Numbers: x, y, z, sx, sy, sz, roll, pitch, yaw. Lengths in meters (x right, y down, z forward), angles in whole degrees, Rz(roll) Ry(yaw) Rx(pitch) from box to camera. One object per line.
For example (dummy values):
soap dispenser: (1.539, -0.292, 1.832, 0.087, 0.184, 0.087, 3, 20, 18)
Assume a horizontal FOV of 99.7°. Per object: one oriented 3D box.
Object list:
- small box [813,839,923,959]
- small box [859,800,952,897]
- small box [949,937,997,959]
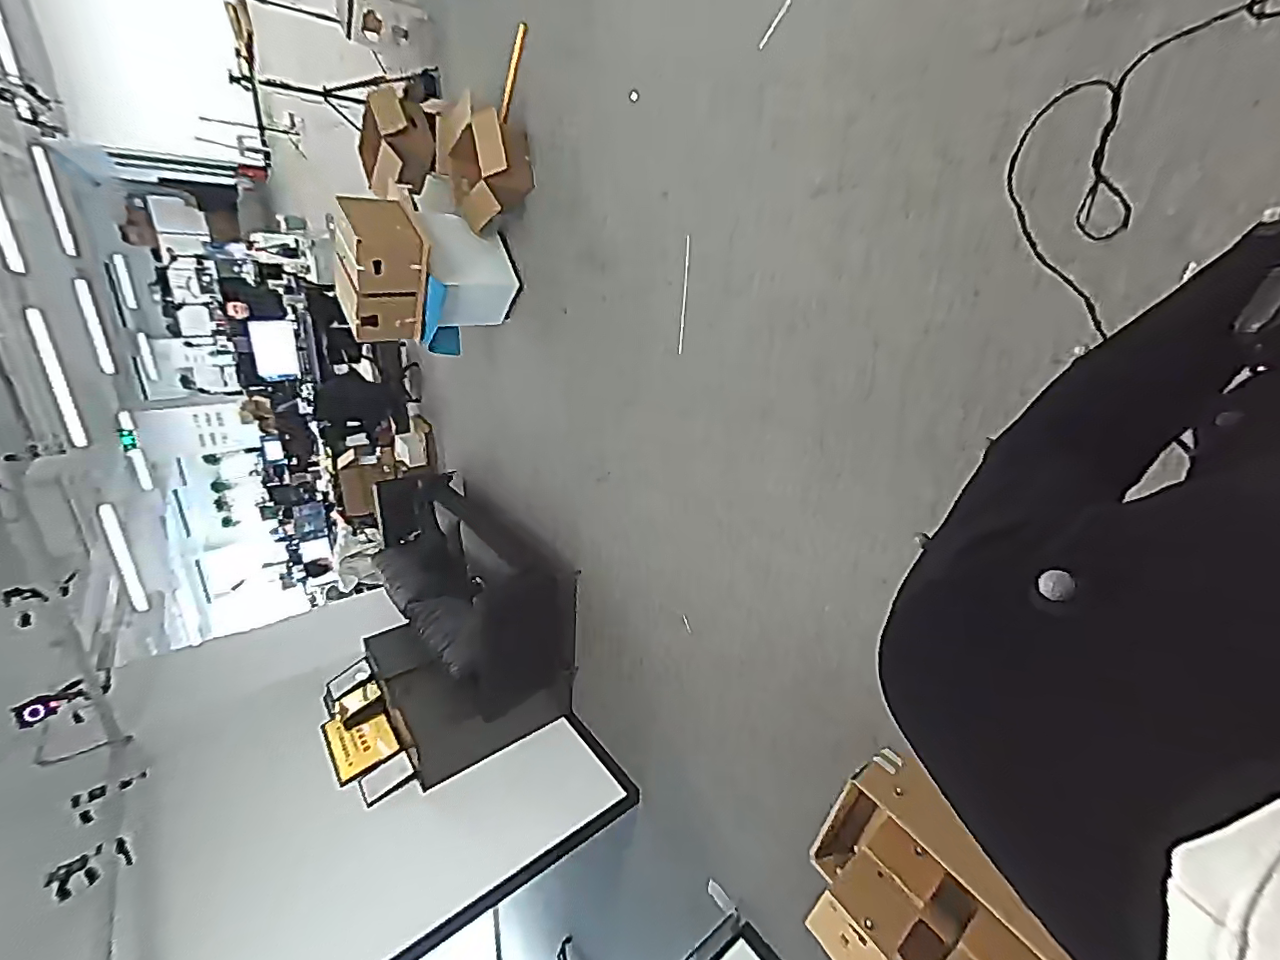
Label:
small box: (0.565, 1.050, 1.340, 0.168, 0.176, 0.179, 37, 129, 38)
small box: (0.692, 1.005, 1.436, 0.168, 0.176, 0.179, 34, 127, 40)
small box: (0.731, 1.159, 1.166, 0.168, 0.176, 0.179, 31, 126, 41)
